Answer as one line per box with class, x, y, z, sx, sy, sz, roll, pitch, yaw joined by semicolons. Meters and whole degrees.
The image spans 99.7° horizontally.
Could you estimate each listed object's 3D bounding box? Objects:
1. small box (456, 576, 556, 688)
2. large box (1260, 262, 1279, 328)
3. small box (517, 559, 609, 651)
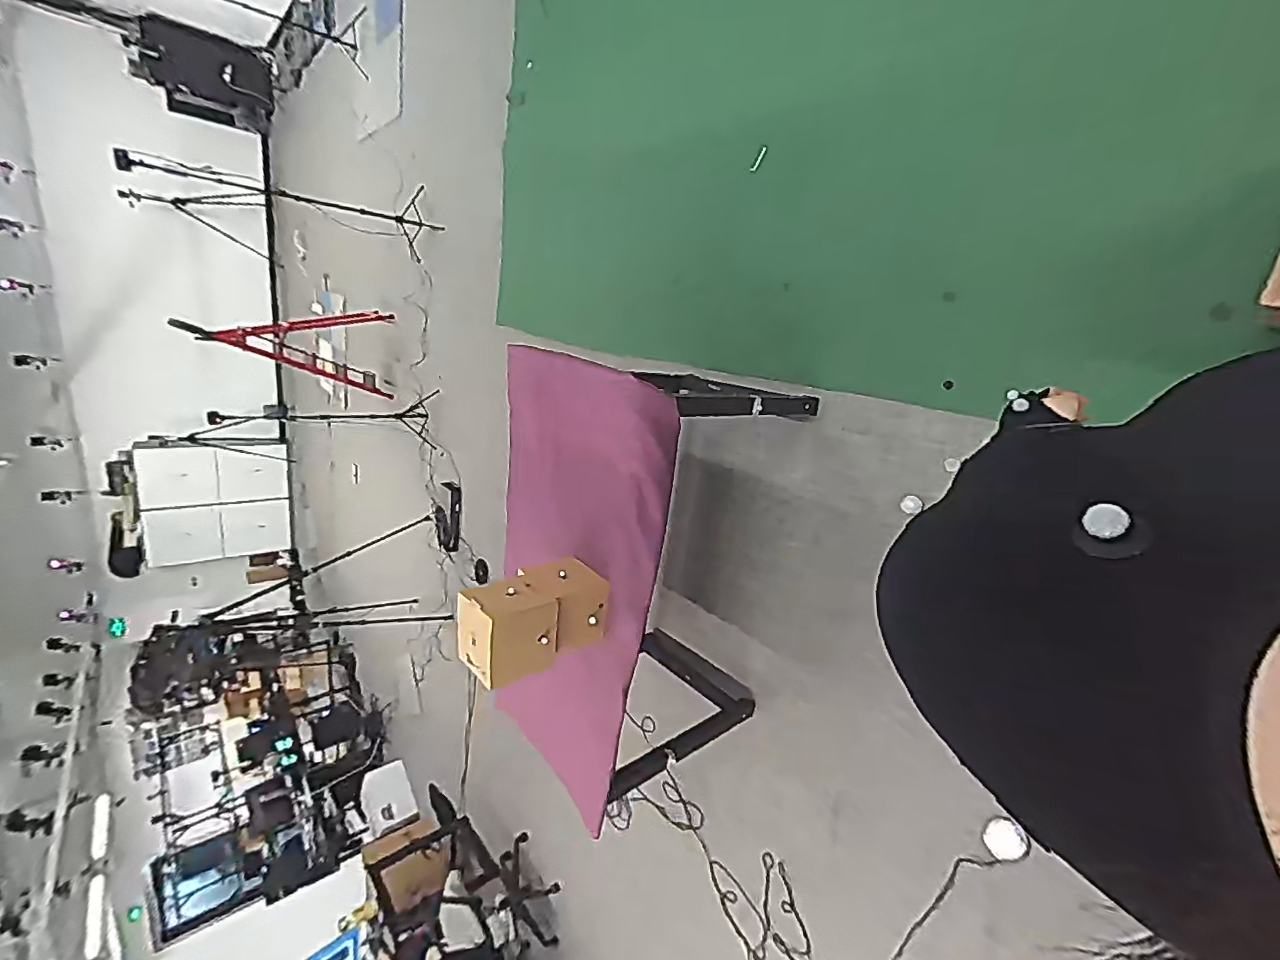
small box;-0.310;0.341;1.256;0.168;0.176;0.179;21;110;45
large box;1.179;-0.358;0.719;0.408;0.320;0.320;25;114;43
small box;-0.204;0.312;1.381;0.179;0.176;0.168;25;113;44
